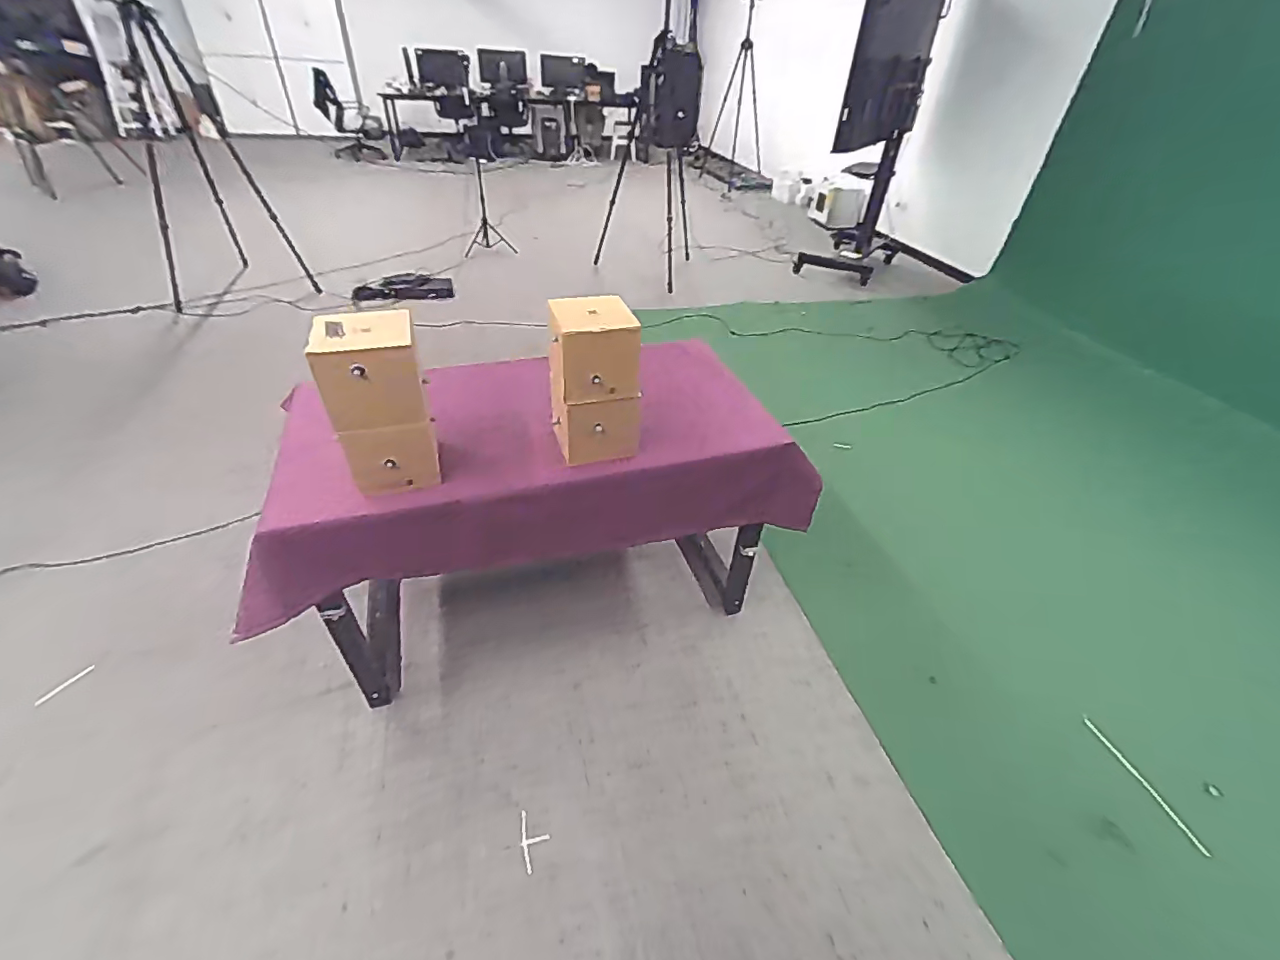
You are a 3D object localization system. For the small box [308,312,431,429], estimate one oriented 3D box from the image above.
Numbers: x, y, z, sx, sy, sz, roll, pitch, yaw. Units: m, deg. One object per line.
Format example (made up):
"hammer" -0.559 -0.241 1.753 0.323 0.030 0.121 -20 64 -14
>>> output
"small box" -0.524 -0.216 1.070 0.179 0.176 0.168 -9 41 -17

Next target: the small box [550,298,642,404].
"small box" -0.102 -0.285 1.191 0.168 0.176 0.179 -9 41 -16

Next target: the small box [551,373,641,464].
"small box" -0.105 -0.155 1.290 0.179 0.176 0.168 -11 42 -16

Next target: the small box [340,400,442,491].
"small box" -0.532 -0.089 1.175 0.168 0.176 0.179 -9 41 -16
